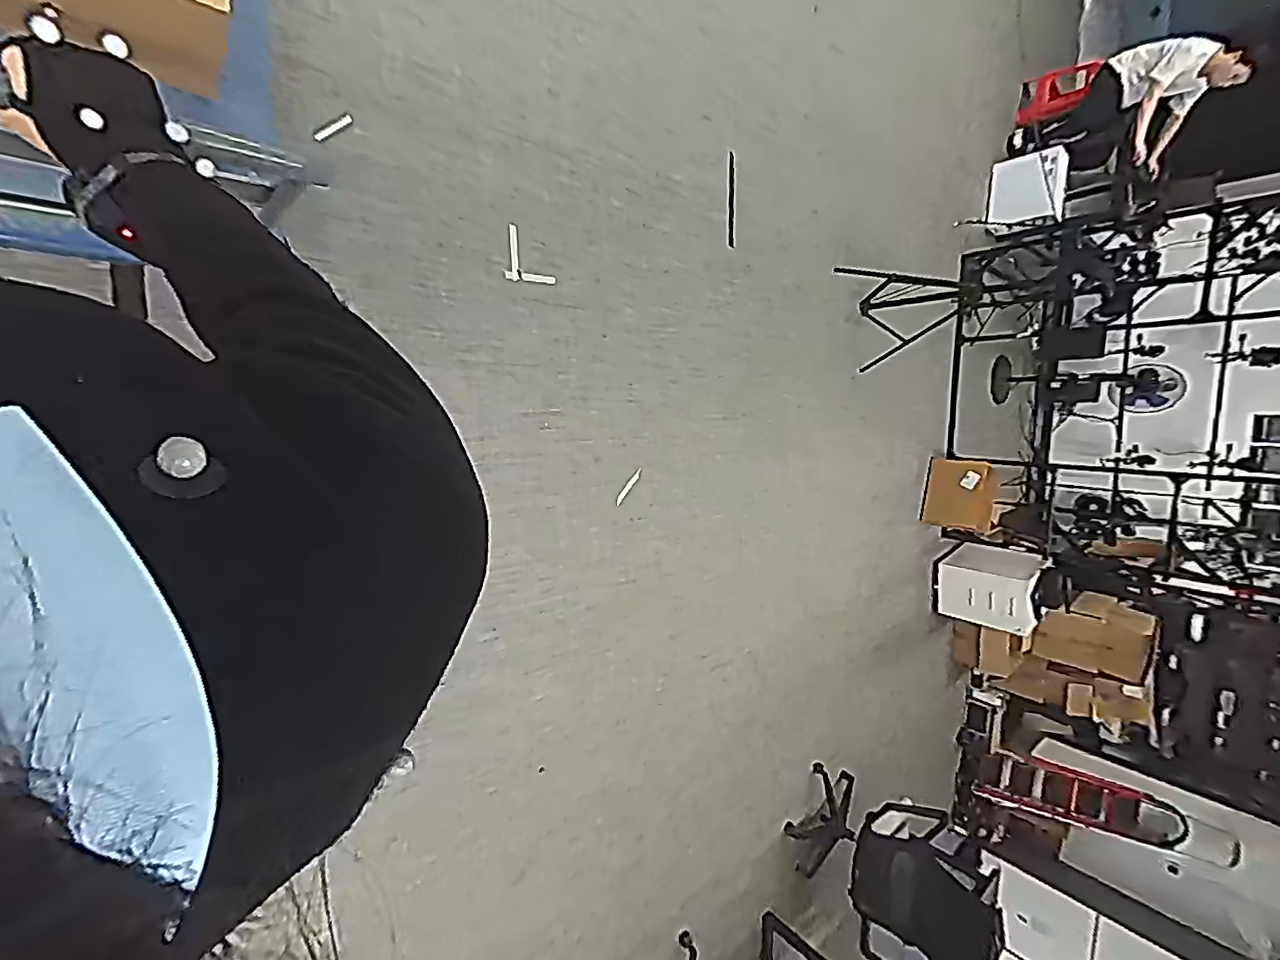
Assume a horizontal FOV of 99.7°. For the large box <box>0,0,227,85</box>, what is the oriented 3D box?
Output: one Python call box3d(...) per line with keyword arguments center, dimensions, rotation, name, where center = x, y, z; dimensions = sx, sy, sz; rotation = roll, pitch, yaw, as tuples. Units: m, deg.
box3d(center=(-0.836, -0.841, 0.741), dimensions=(0.408, 0.320, 0.320), rotation=(-4, 98, -40), name="large box")
